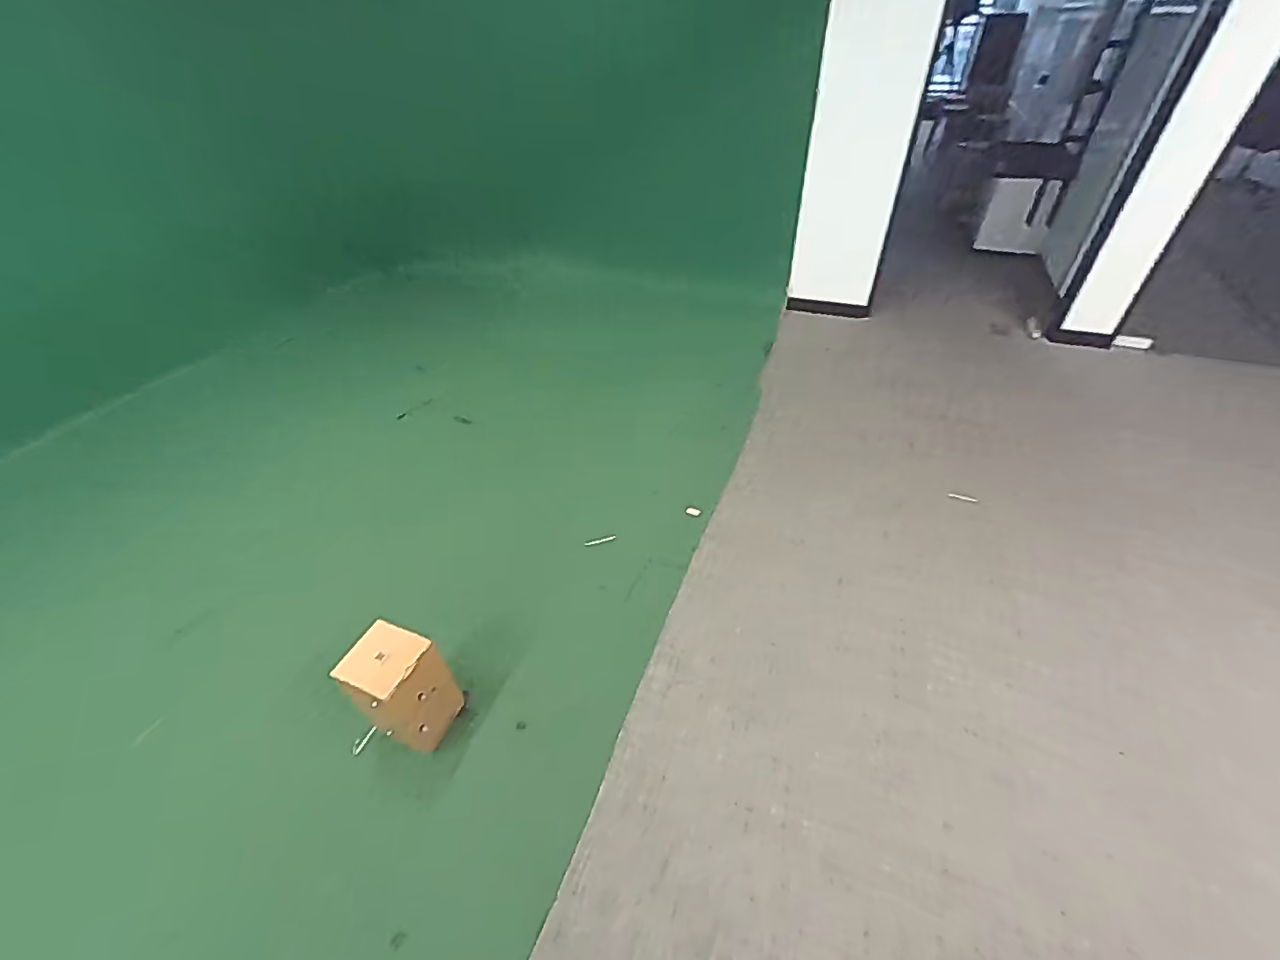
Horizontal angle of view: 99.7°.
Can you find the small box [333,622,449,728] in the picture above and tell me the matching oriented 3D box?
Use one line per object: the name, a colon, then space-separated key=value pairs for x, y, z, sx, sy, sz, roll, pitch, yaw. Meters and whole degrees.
small box: x=-0.618 y=0.492 z=1.361 sx=0.179 sy=0.176 sz=0.168 roll=14 pitch=45 yaw=18
